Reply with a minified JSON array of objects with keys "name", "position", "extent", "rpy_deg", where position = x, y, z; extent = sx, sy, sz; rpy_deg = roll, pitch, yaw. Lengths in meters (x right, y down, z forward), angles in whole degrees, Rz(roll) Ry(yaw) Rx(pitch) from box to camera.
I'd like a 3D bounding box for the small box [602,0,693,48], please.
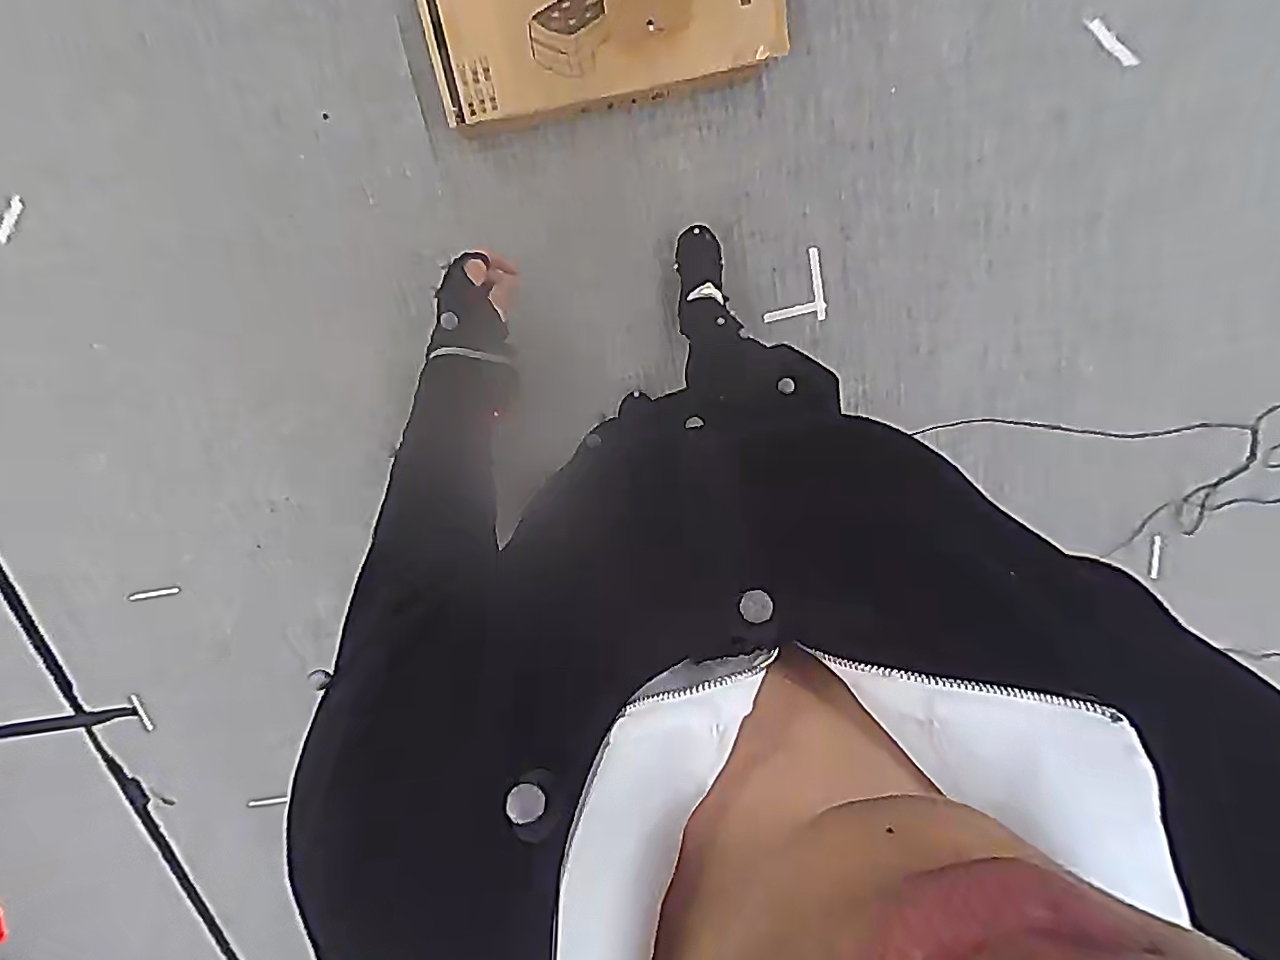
[{"name":"small box","position":[0.003,-0.969,1.018],"extent":[0.168,0.176,0.179],"rpy_deg":[-11,106,4]}]
